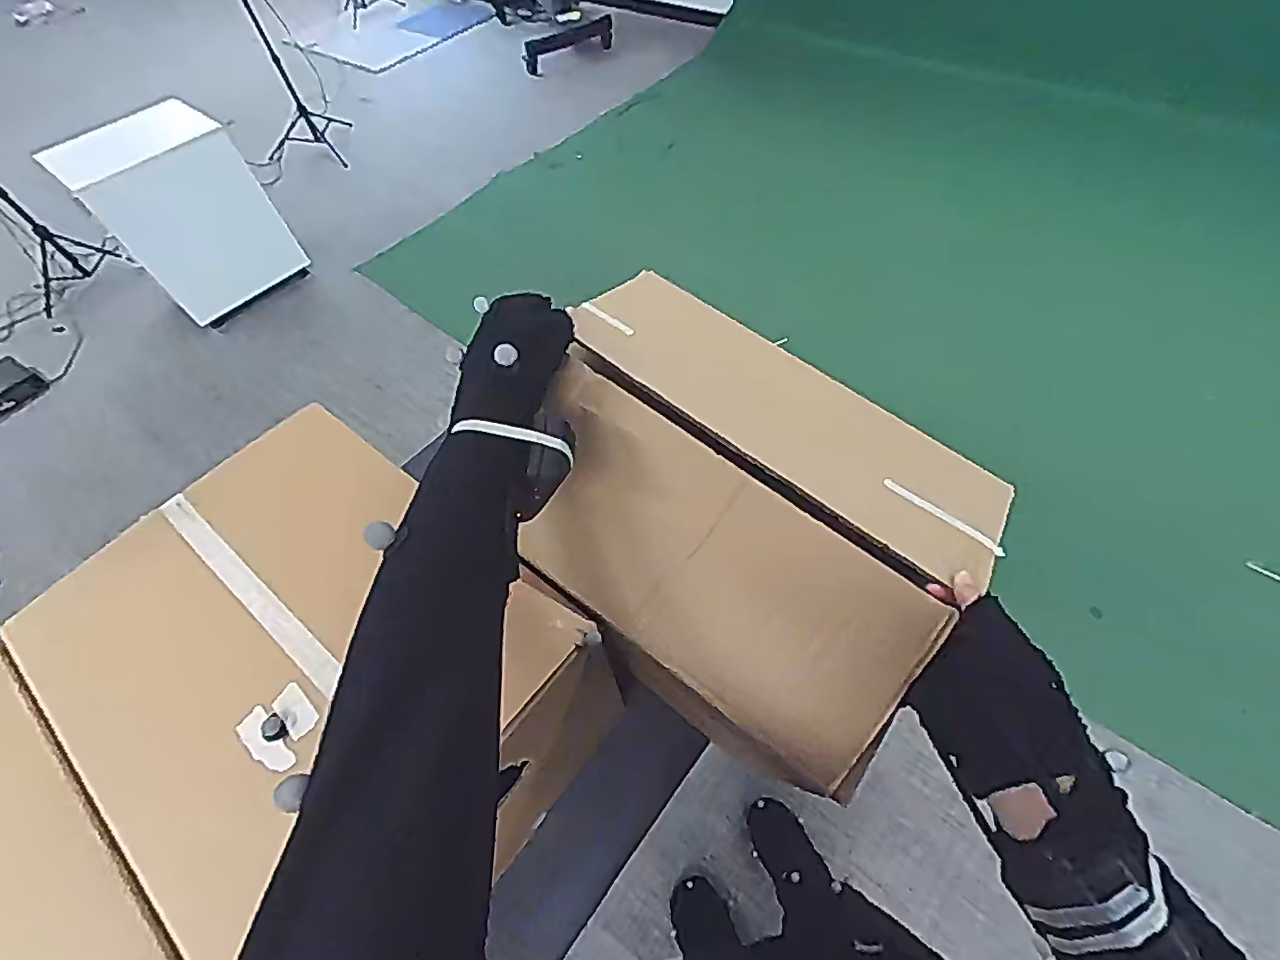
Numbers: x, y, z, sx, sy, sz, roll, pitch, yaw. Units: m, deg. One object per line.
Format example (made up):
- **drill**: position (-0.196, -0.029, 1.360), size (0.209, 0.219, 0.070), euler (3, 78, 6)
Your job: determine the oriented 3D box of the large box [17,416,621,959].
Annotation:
- **large box**: position (-0.273, 0.207, 0.570), size (0.408, 0.320, 0.320), euler (32, 64, 22)
